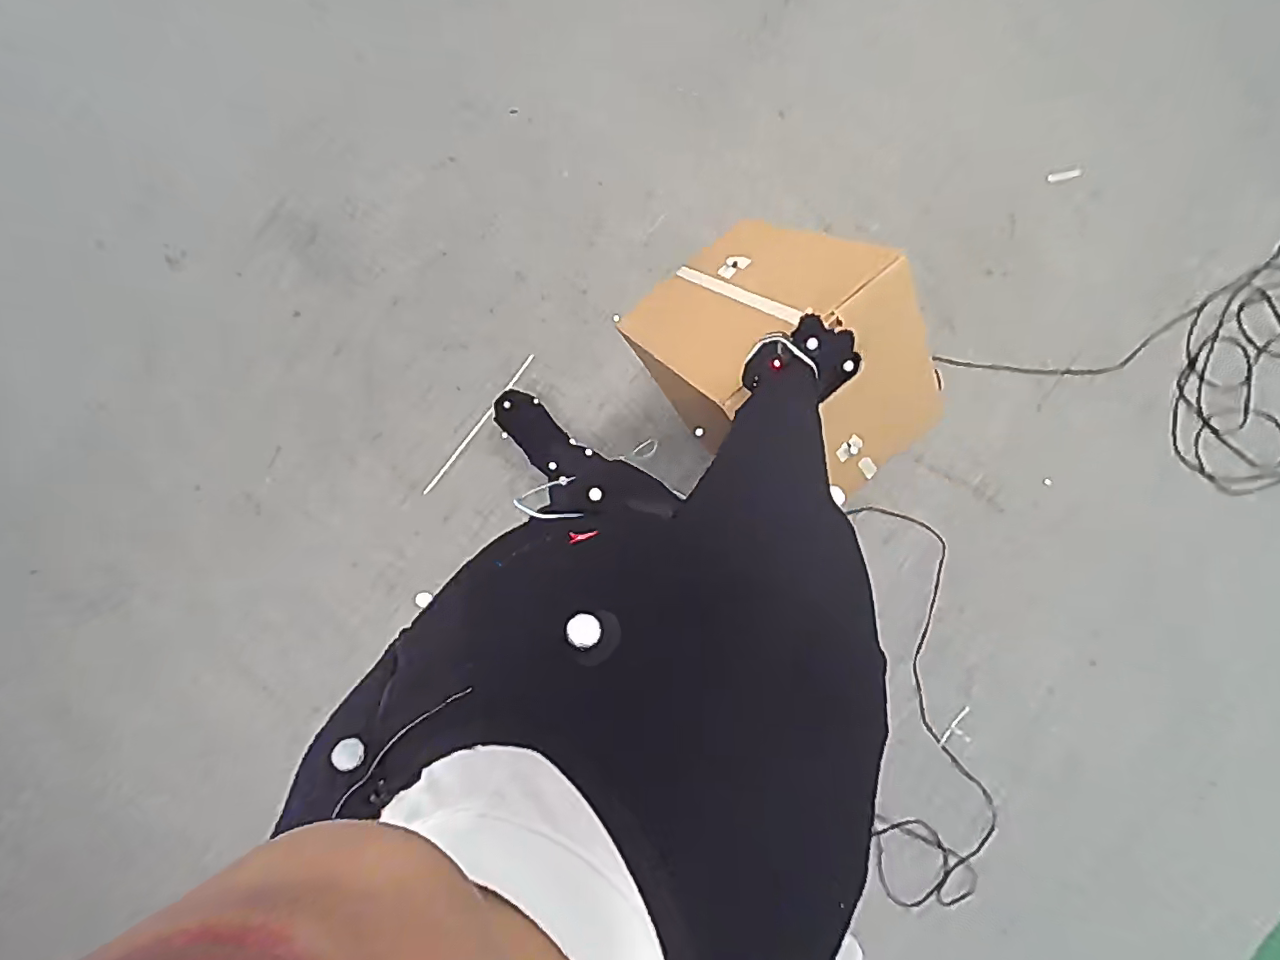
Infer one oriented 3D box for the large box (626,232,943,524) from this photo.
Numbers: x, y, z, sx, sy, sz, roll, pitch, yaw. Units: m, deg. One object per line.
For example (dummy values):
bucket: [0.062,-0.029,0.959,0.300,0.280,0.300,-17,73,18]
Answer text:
large box: [0.241,-0.196,0.965,0.320,0.408,0.320,-39,126,0]
